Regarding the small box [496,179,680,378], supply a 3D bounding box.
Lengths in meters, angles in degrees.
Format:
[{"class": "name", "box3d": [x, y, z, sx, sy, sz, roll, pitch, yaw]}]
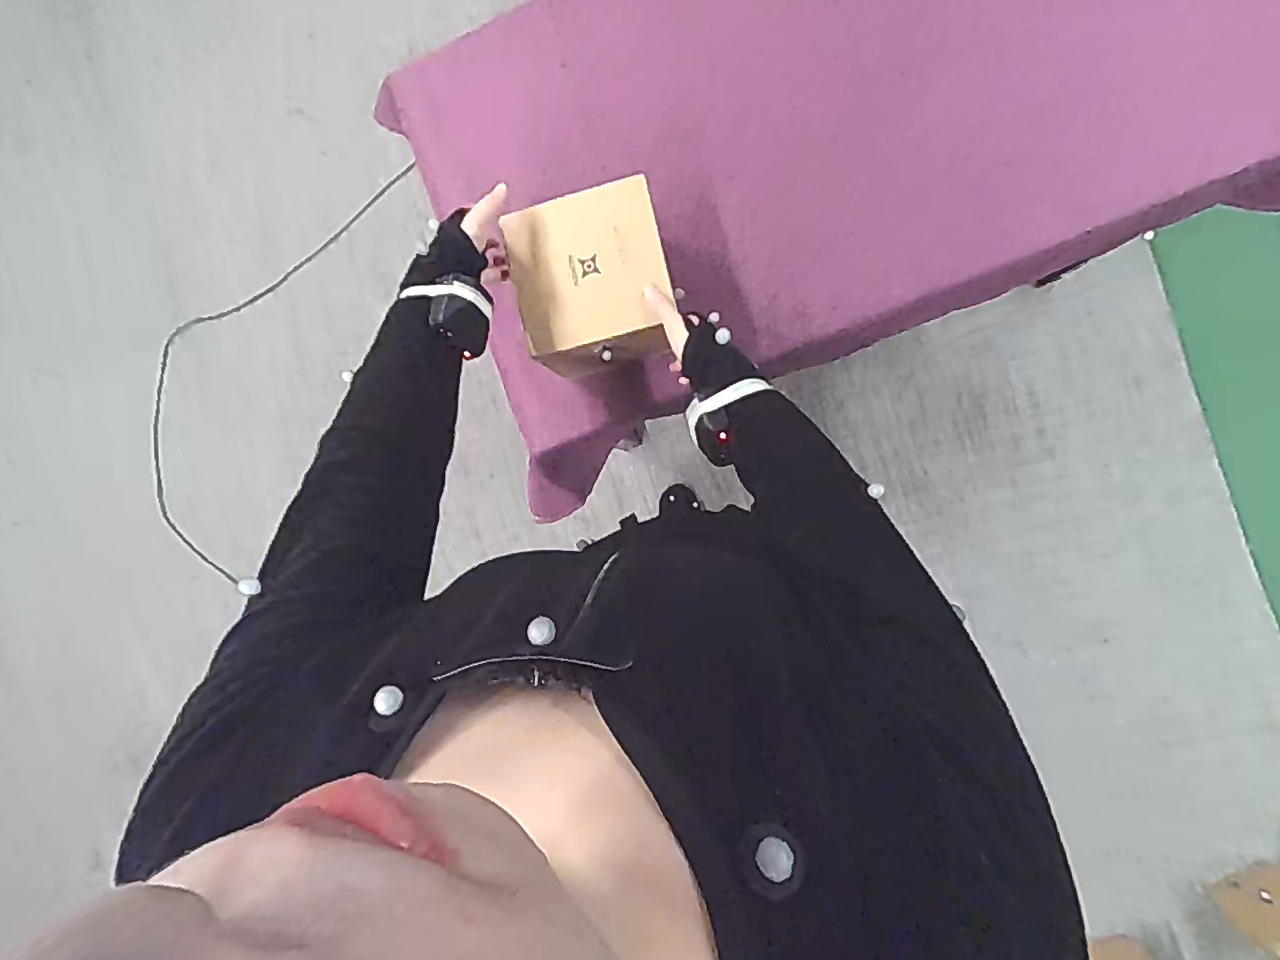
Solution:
[{"class": "small box", "box3d": [-0.054, -0.236, 0.684, 0.179, 0.176, 0.168, -13, 91, 7]}]

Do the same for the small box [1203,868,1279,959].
[{"class": "small box", "box3d": [1.486, 1.045, 1.245, 0.168, 0.176, 0.179, -36, 87, 7]}]

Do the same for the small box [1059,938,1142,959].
[{"class": "small box", "box3d": [1.153, 1.257, 1.295, 0.179, 0.176, 0.168, -20, 90, 8]}]
